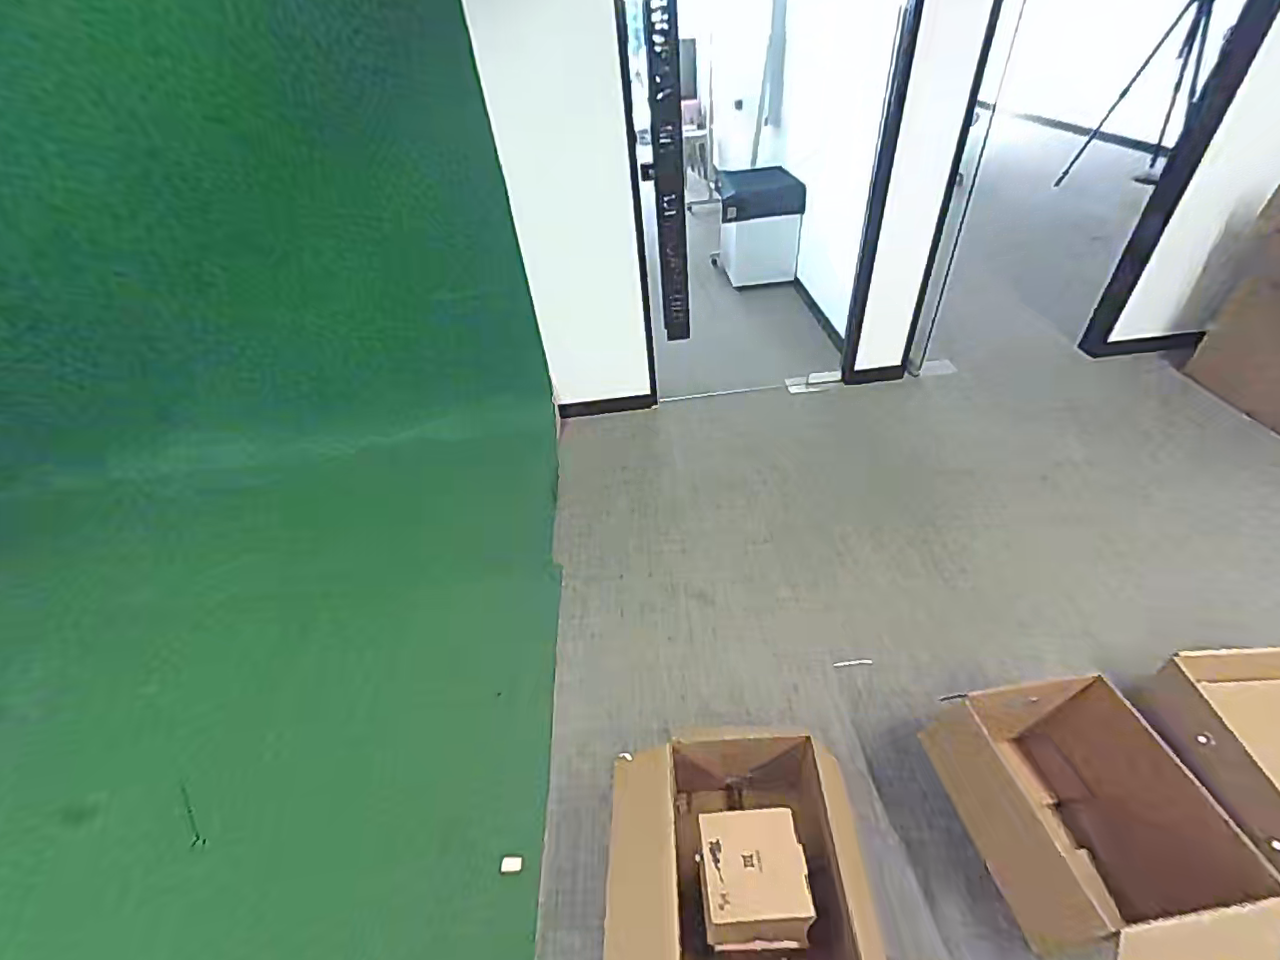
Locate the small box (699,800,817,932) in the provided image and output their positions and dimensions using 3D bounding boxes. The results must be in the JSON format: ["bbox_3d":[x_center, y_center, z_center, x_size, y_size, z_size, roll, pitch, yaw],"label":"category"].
[{"bbox_3d":[0.209,0.720,1.009,0.179,0.176,0.168,-3,40,0],"label":"small box"}]
